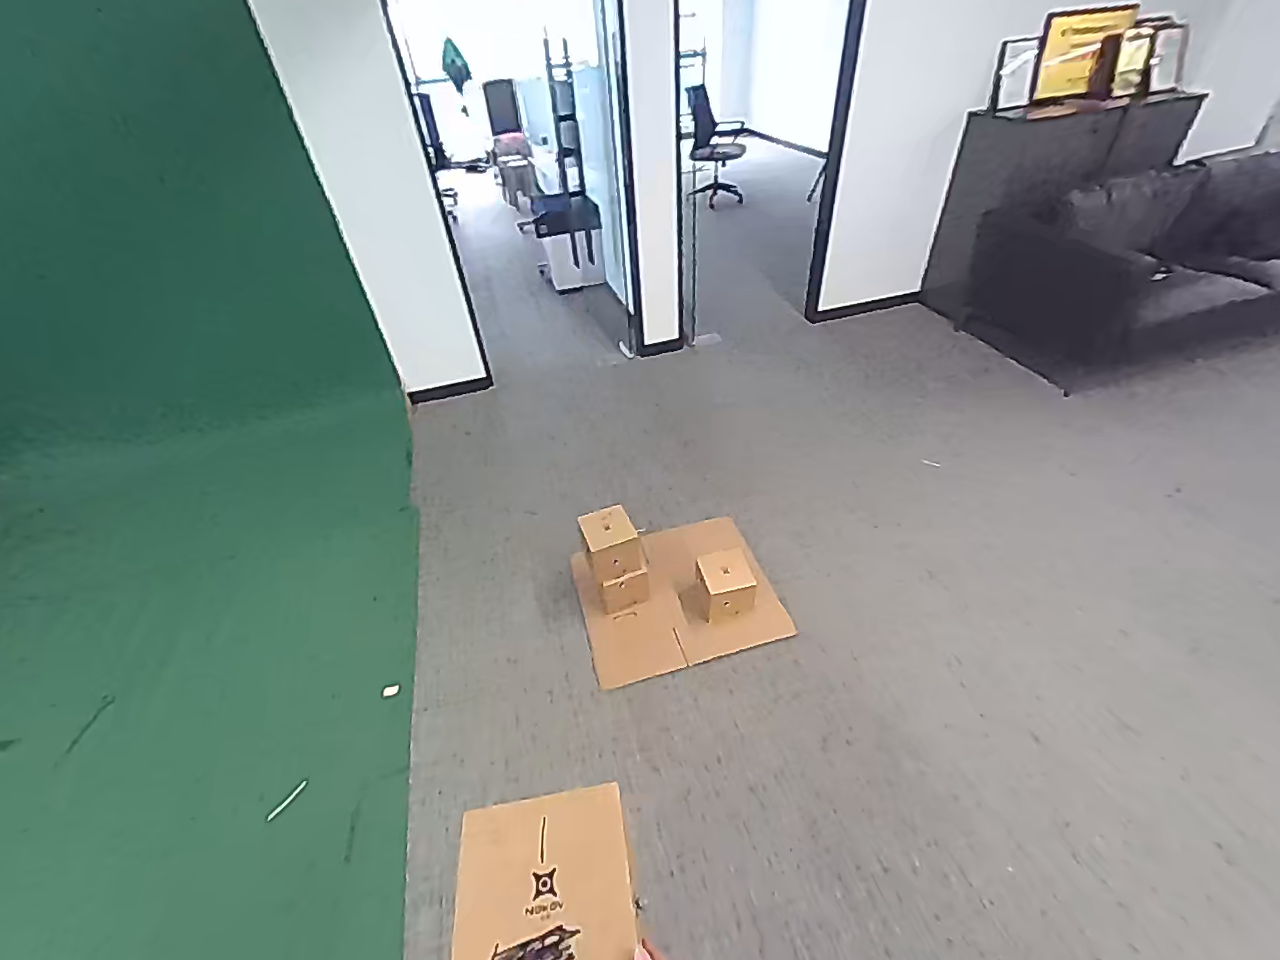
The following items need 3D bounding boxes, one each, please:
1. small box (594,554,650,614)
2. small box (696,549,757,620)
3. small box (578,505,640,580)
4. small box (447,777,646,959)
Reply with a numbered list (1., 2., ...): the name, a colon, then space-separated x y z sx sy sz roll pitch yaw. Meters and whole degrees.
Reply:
1. small box: -0.071 0.352 1.961 0.168 0.176 0.179 -17 42 -15
2. small box: 0.301 0.373 1.897 0.168 0.176 0.179 -11 40 -7
3. small box: -0.104 0.222 1.861 0.168 0.176 0.179 -16 41 -14
4. small box: -0.086 0.441 0.552 0.168 0.176 0.179 -8 39 -5
